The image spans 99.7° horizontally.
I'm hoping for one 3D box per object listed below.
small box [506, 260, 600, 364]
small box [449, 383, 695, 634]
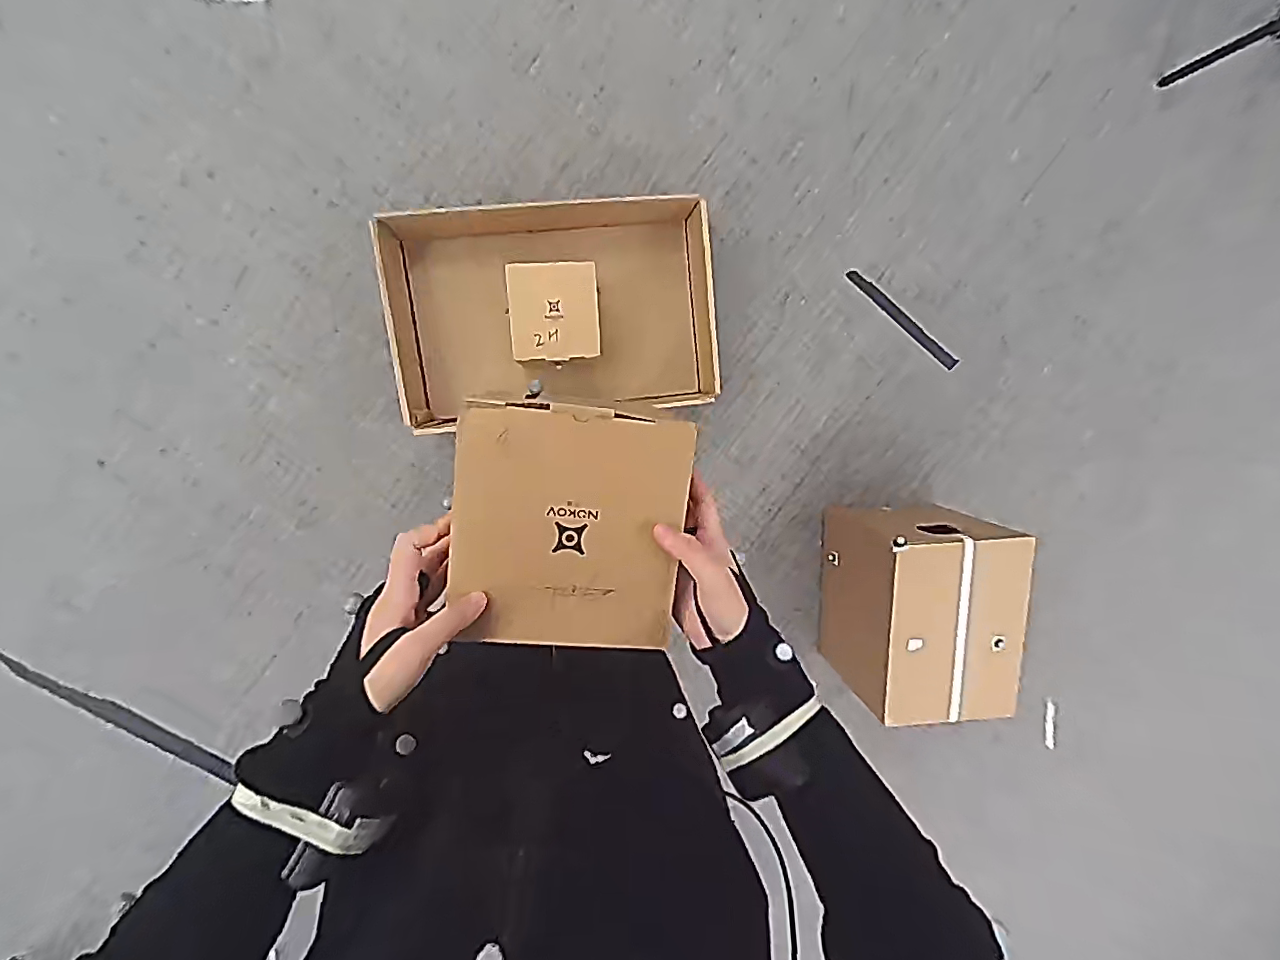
[{"bbox_3d":[-0.171,-0.327,1.077,0.168,0.176,0.179,-4,100,-6],"label":"small box"},{"bbox_3d":[-0.061,0.012,0.468,0.168,0.176,0.179,5,102,-9],"label":"small box"}]
